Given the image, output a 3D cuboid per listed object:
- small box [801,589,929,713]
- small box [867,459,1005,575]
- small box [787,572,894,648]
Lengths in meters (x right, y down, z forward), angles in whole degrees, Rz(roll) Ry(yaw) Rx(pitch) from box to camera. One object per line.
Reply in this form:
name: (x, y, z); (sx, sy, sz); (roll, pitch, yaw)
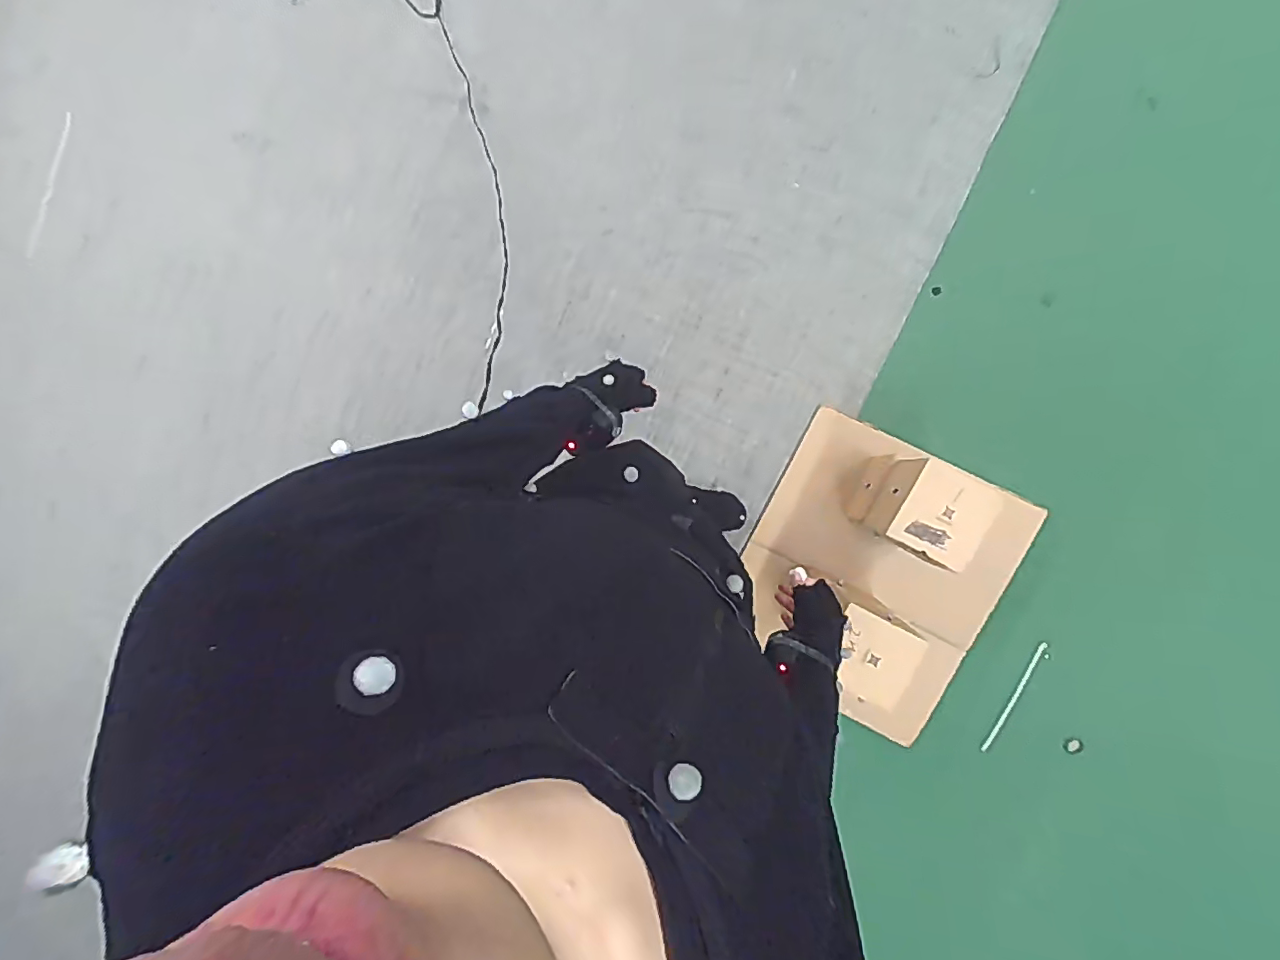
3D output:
small box: (0.470, 0.355, 1.159); (0.179, 0.176, 0.168); (28, 95, 6)
small box: (0.601, 0.072, 1.130); (0.168, 0.176, 0.179); (30, 93, 5)
small box: (0.481, 0.343, 1.325); (0.179, 0.176, 0.168); (25, 95, 6)
